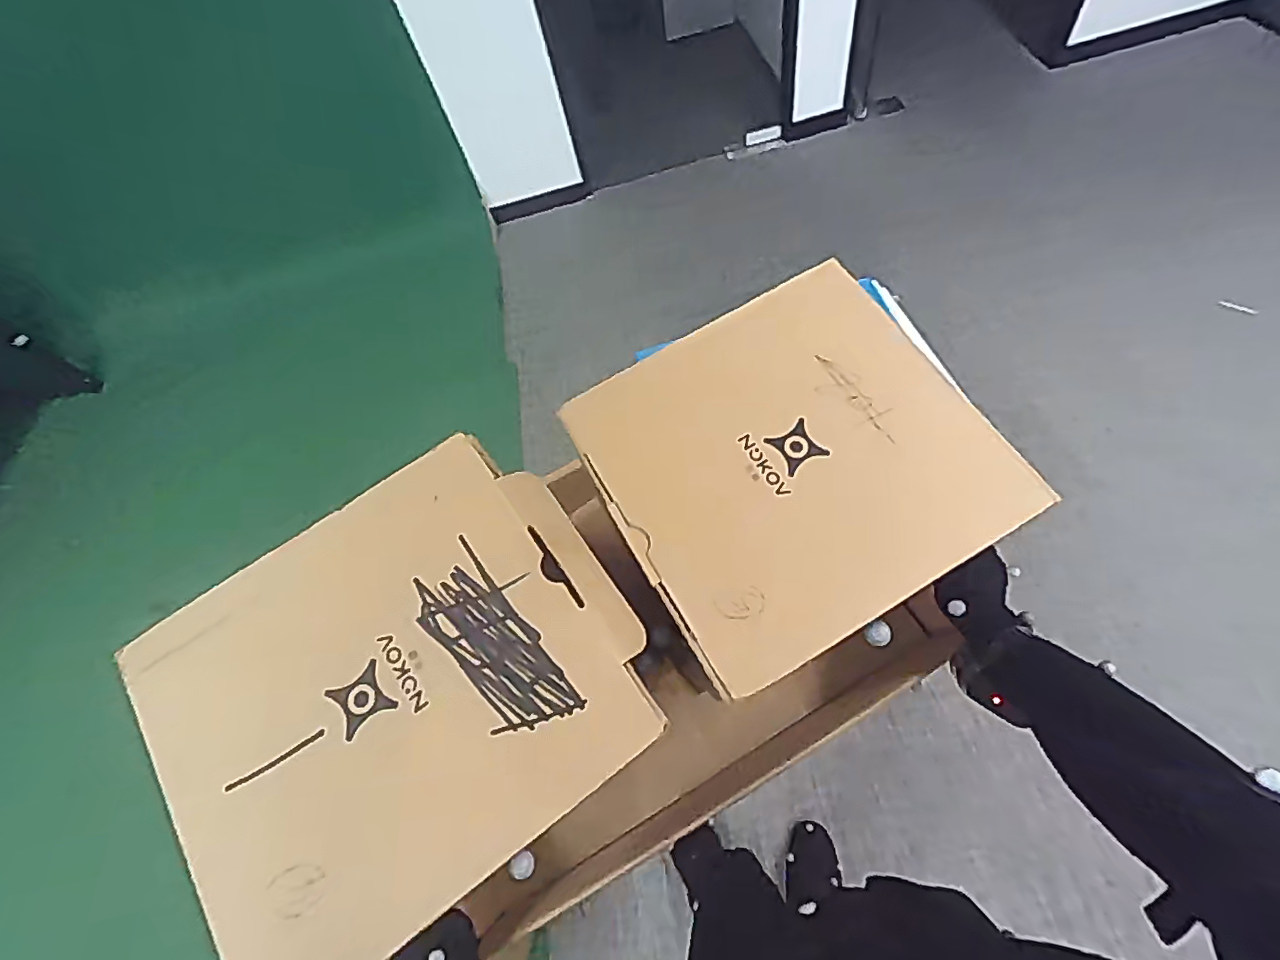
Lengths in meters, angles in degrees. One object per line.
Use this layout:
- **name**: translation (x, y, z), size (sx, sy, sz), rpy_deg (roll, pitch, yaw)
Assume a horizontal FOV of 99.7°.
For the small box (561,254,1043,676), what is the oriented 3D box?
- **small box**: translation (0.078, 0.008, 0.337), size (0.179, 0.176, 0.168), rpy_deg (-29, 69, -6)
